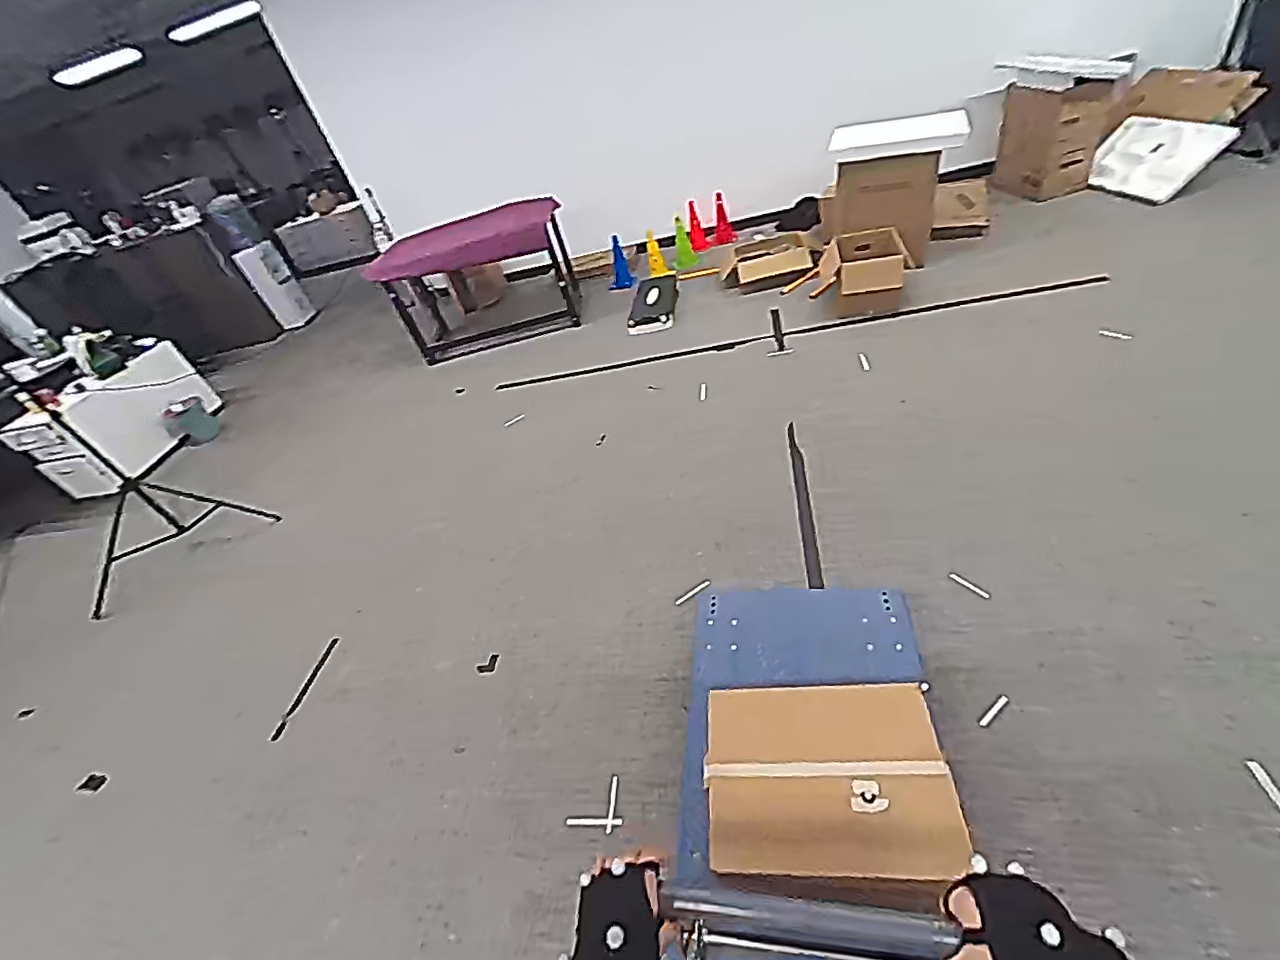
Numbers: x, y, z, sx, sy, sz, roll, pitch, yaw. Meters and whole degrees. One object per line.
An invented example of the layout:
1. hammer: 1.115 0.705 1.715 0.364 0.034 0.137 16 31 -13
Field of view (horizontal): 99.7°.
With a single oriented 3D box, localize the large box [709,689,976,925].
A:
1. large box: 0.356 0.636 1.053 0.408 0.320 0.320 -7 41 12
